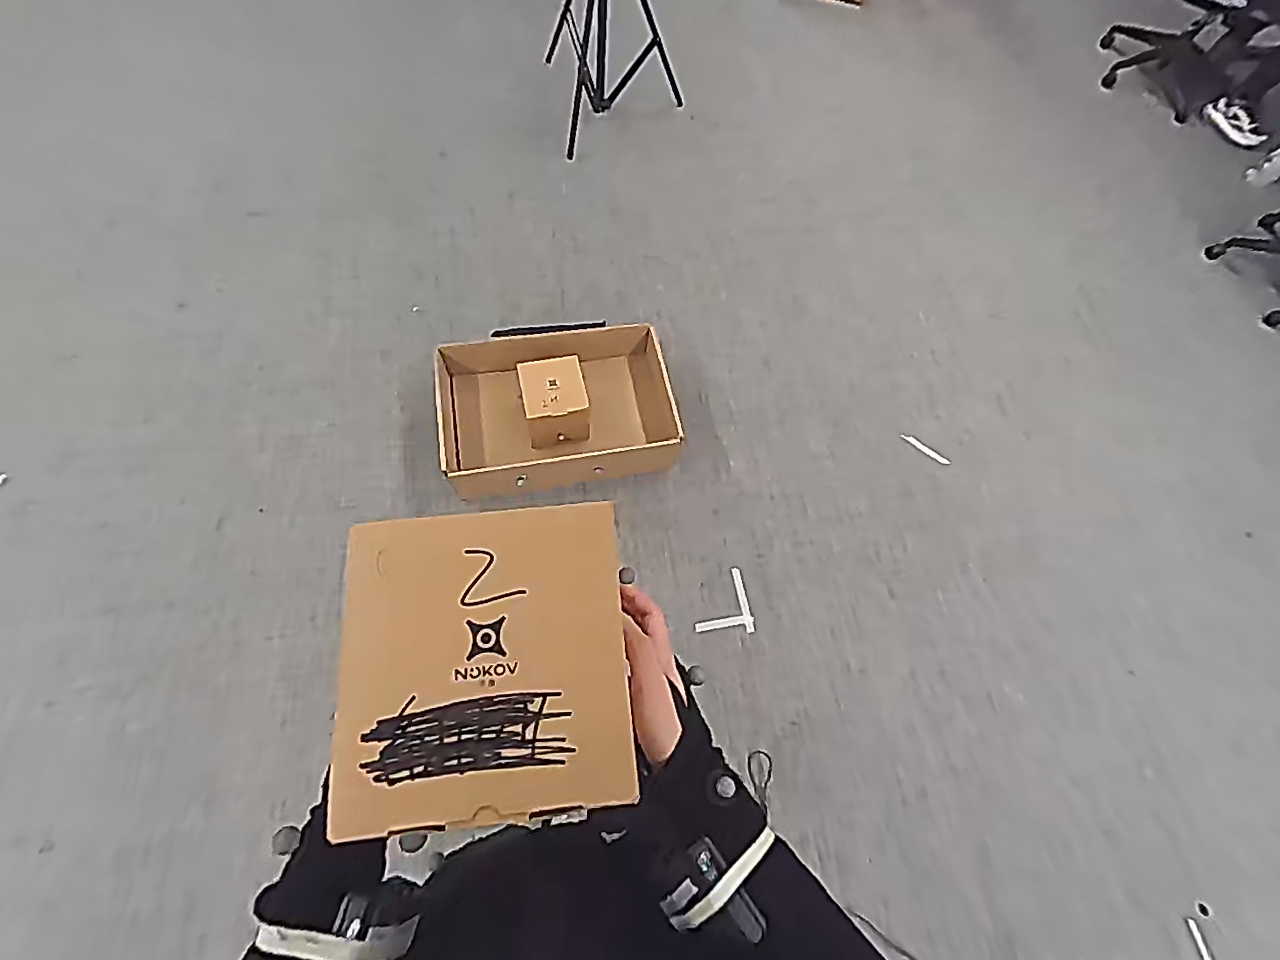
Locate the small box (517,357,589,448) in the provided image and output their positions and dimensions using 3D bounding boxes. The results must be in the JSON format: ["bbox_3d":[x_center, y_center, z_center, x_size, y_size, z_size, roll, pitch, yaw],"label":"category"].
[{"bbox_3d":[-0.239,-0.211,1.495,0.168,0.176,0.179,-11,68,-10],"label":"small box"}]
